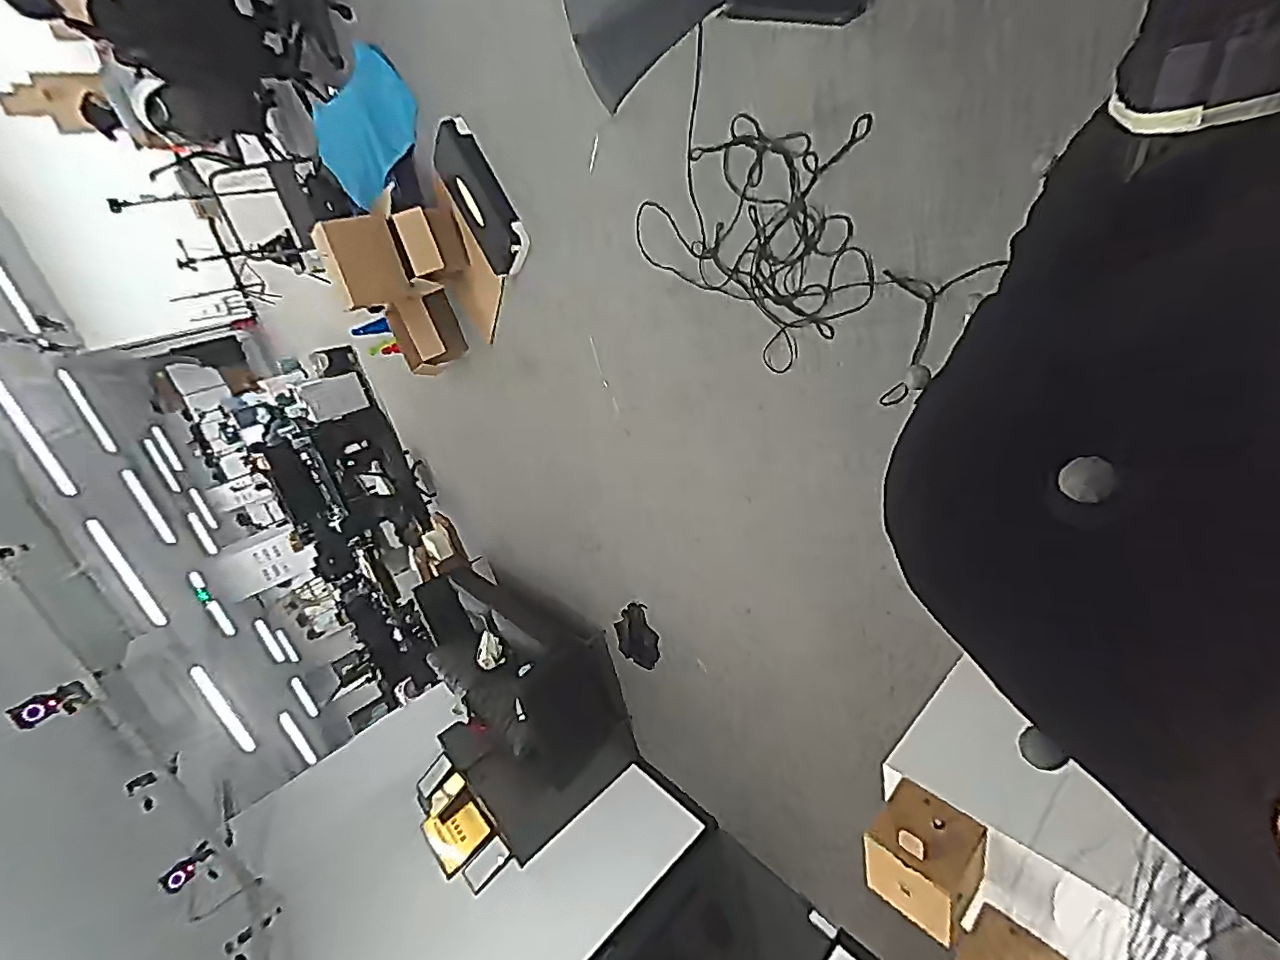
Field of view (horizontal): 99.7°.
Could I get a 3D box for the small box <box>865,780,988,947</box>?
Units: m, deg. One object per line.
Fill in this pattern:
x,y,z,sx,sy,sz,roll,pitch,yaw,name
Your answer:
0.576,0.760,1.088,0.168,0.176,0.179,17,127,49,small box
